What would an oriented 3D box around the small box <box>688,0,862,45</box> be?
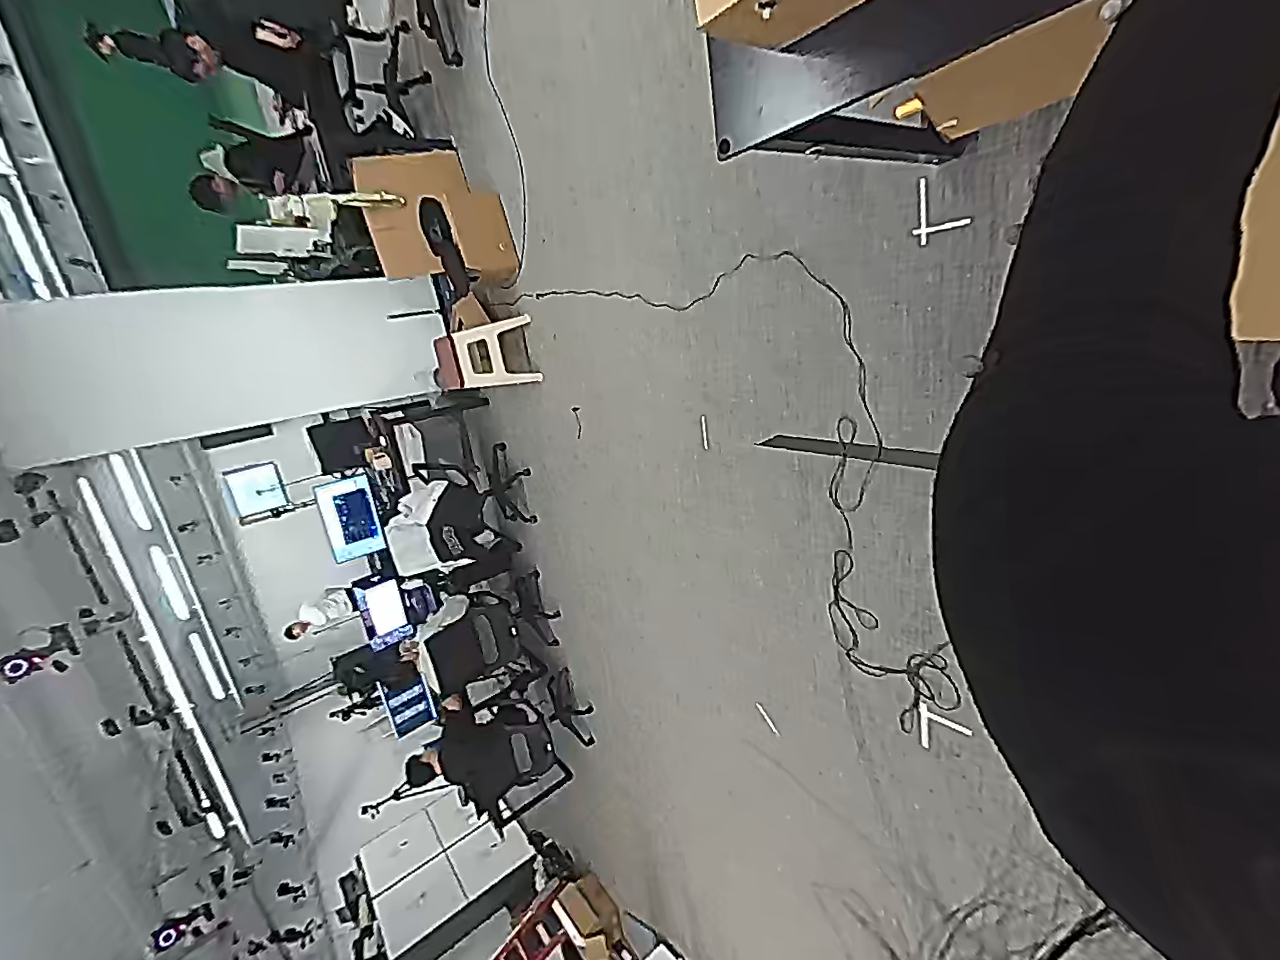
[{"bbox_3d":[0.168,-0.644,0.626,0.179,0.176,0.168,15,119,50],"label":"small box"}]
